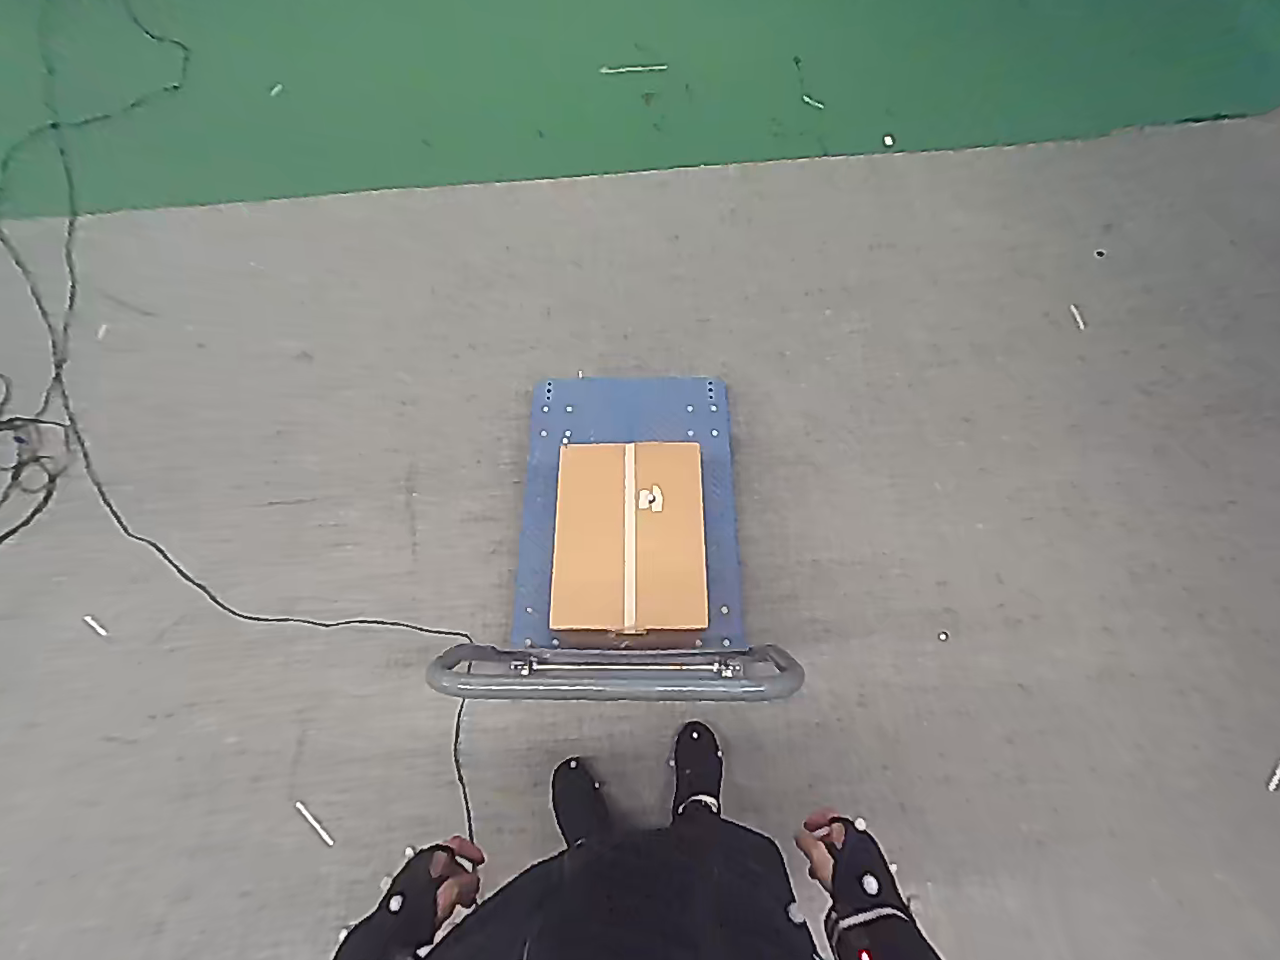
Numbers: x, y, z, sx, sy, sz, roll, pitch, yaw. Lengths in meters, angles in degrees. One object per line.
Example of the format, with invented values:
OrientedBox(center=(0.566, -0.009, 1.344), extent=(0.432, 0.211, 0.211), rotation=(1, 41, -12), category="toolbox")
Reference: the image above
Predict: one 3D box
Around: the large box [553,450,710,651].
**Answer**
OrientedBox(center=(-0.016, 0.177, 1.267), extent=(0.320, 0.320, 0.408), rotation=(0, 66, 0), category="large box")
